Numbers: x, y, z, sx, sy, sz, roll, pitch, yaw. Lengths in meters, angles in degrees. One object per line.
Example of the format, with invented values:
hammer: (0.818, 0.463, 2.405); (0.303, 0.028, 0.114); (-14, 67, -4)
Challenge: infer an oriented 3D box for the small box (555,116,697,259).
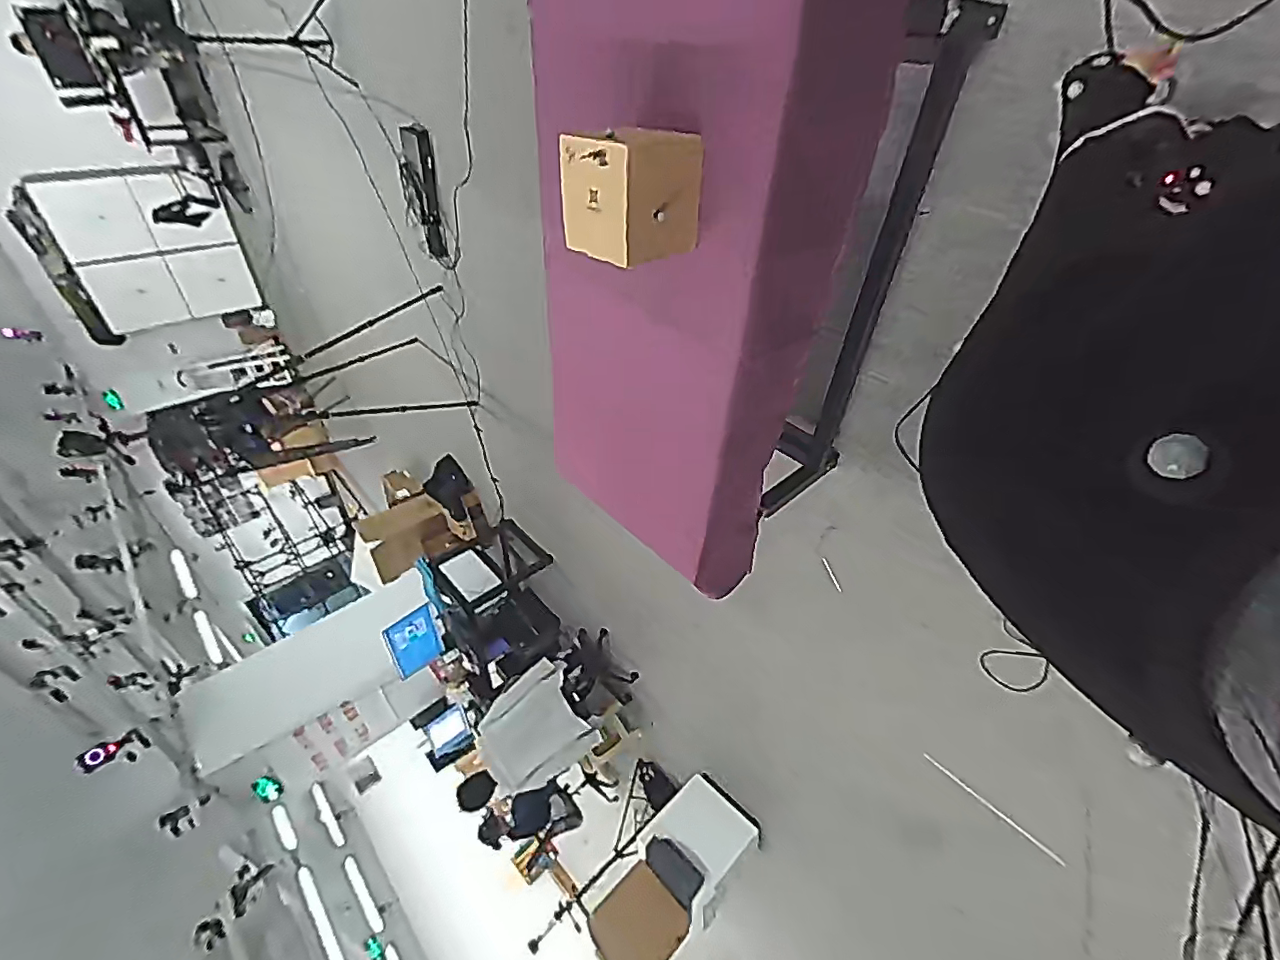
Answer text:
small box: (-0.021, -0.496, 0.909); (0.168, 0.176, 0.179); (34, 139, 34)
